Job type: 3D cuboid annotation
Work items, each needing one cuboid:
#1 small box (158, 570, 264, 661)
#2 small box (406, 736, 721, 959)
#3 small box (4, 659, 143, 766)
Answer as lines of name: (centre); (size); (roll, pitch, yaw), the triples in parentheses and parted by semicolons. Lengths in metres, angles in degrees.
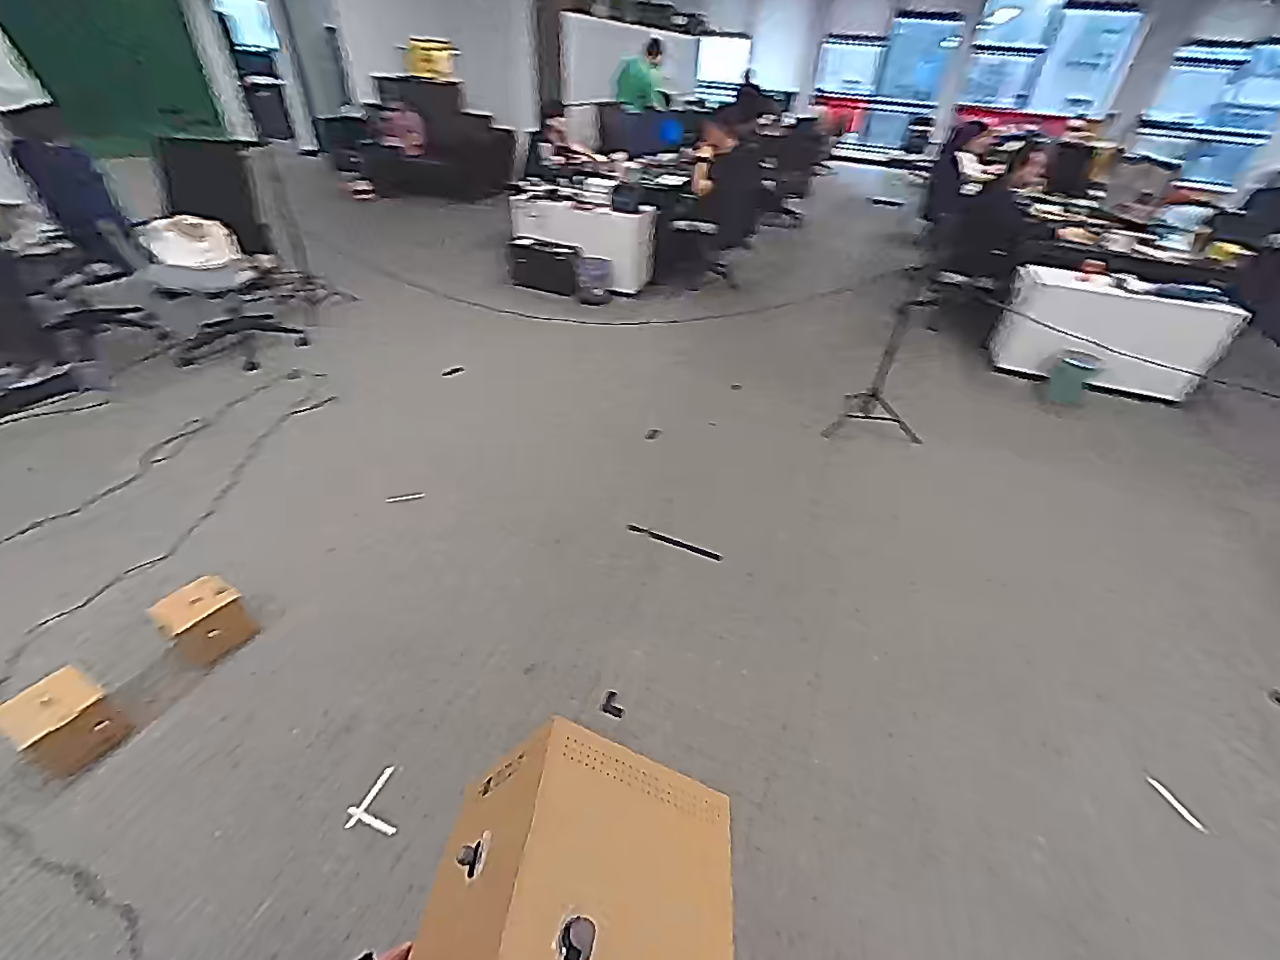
small box: (-1.317, 0.421, 1.671); (0.168, 0.176, 0.179); (24, 42, 22)
small box: (-0.057, 0.322, 0.410); (0.179, 0.168, 0.176); (33, 33, -17)
small box: (-1.470, 0.613, 1.415); (0.179, 0.176, 0.168); (22, 41, 21)
